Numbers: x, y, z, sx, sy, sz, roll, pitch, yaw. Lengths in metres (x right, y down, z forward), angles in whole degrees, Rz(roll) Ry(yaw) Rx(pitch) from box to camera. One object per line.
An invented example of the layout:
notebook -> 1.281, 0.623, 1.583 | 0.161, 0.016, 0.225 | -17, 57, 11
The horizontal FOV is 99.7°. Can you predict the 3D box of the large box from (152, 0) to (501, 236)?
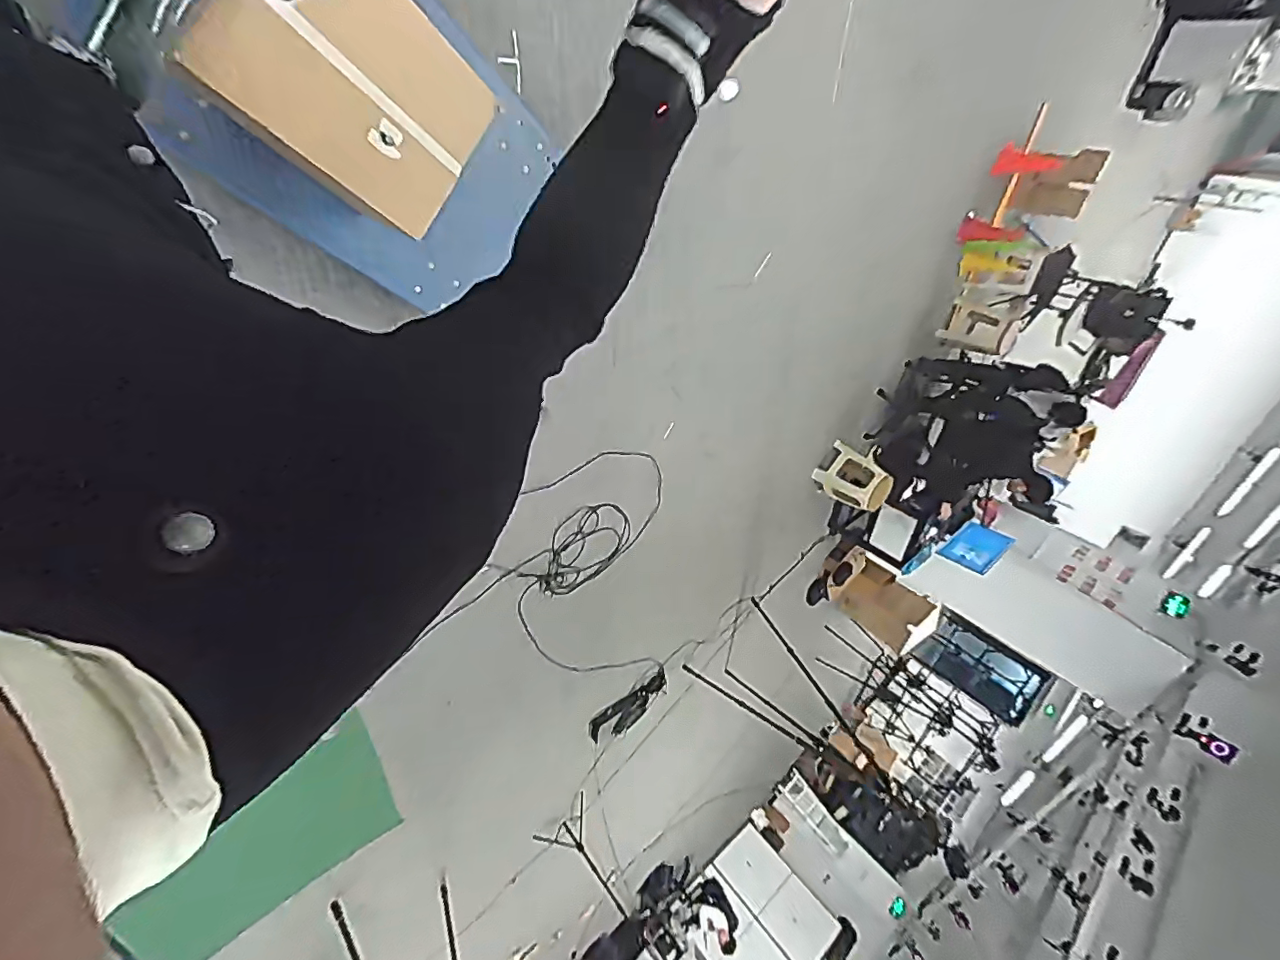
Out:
large box -> -0.550, -0.725, 0.978 | 0.320, 0.320, 0.408 | -56, 144, 4
